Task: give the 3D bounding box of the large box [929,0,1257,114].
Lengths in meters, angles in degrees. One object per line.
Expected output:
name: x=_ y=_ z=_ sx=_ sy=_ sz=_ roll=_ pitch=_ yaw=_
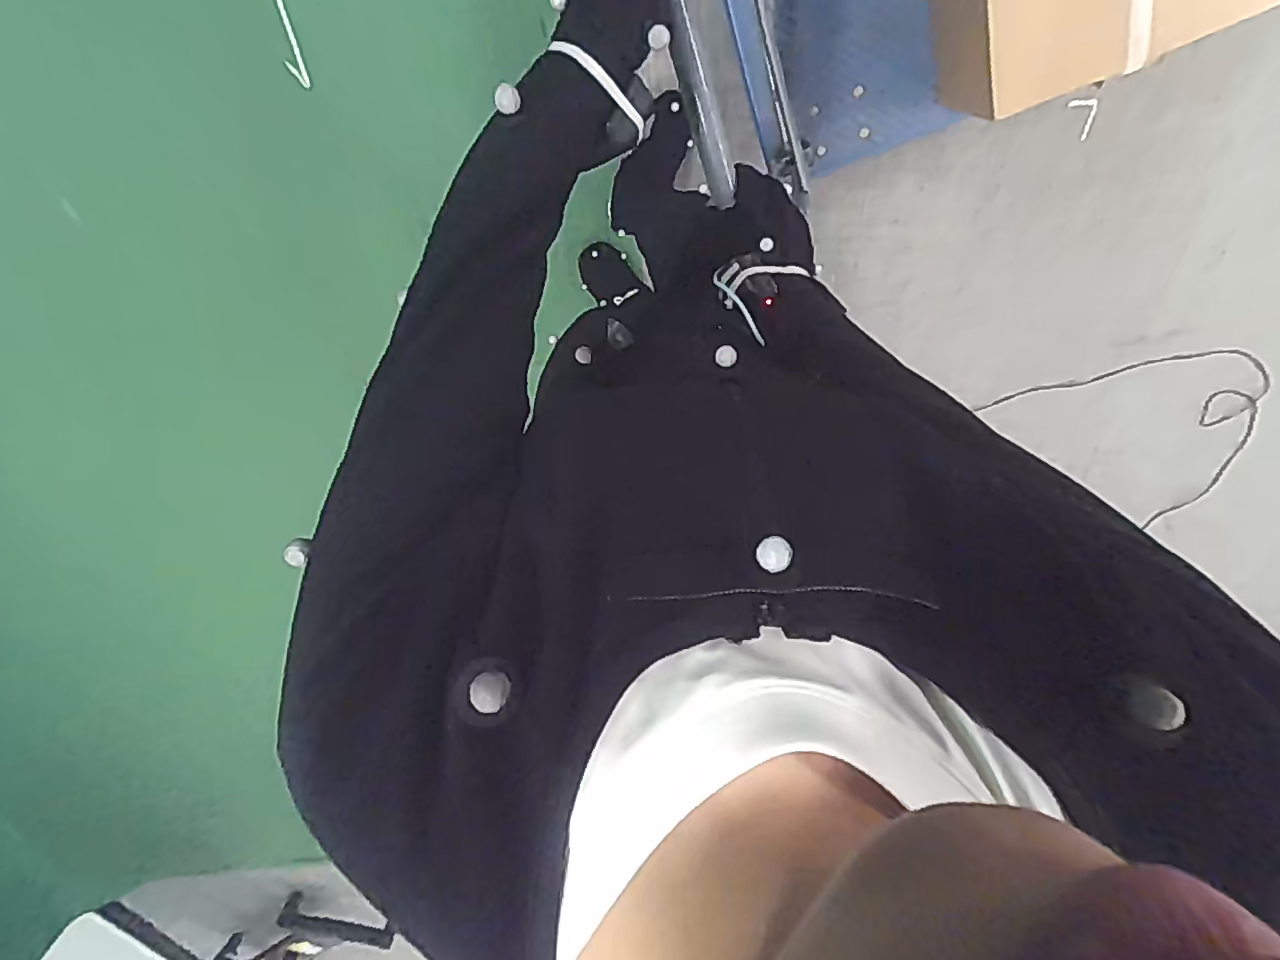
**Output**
large box: x=0.572 y=-0.784 z=0.718 sx=0.320 sy=0.320 sz=0.408 roll=-13 pitch=122 yaw=23
